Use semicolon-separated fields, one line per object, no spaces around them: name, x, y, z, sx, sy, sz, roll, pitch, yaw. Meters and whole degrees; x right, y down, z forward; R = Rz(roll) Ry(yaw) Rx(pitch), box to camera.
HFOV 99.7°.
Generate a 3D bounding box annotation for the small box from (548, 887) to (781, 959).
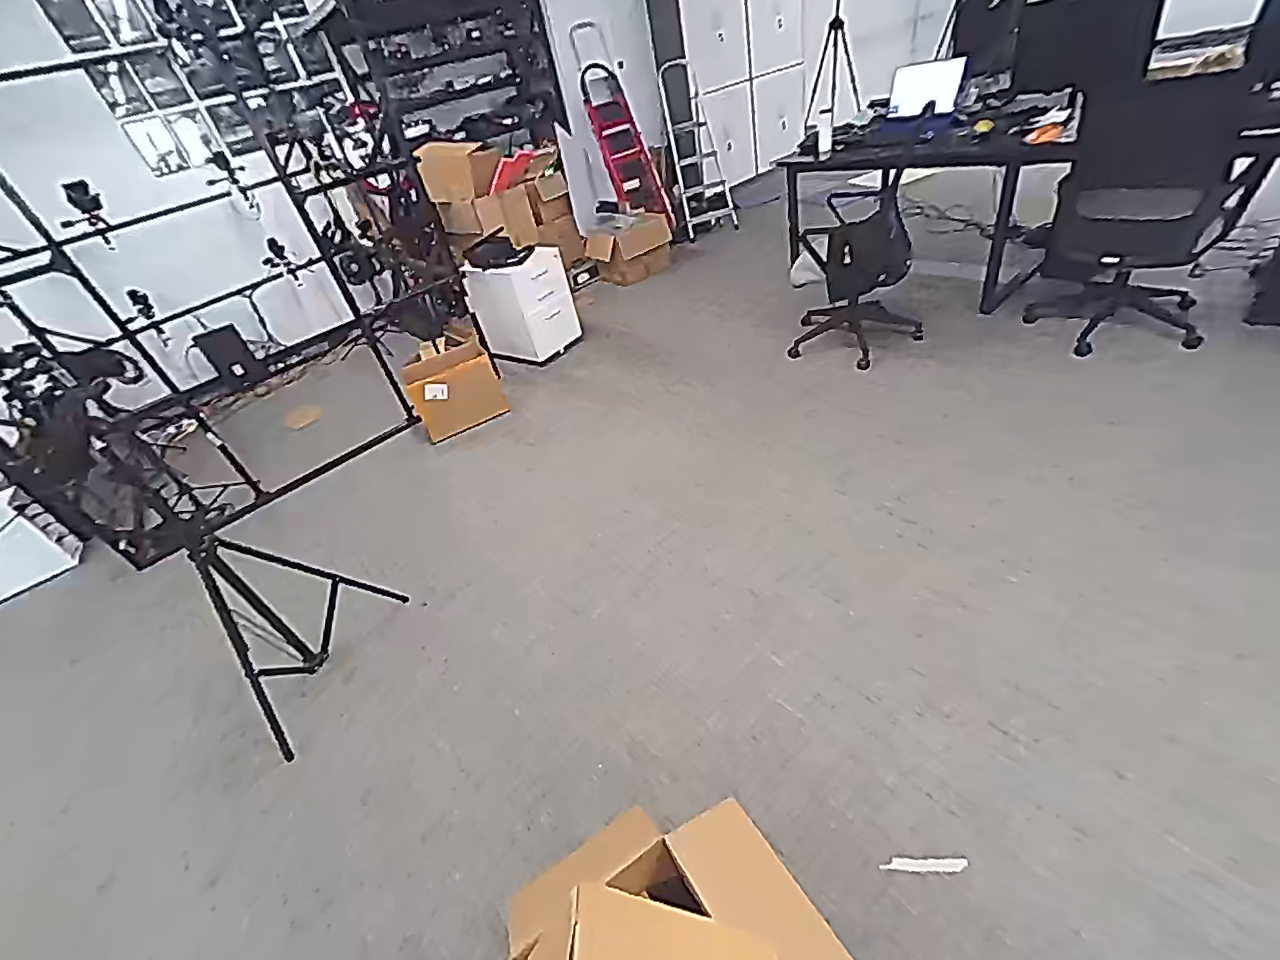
small box;0.000;0.432;0.361;0.179;0.176;0.168;24;15;-10
